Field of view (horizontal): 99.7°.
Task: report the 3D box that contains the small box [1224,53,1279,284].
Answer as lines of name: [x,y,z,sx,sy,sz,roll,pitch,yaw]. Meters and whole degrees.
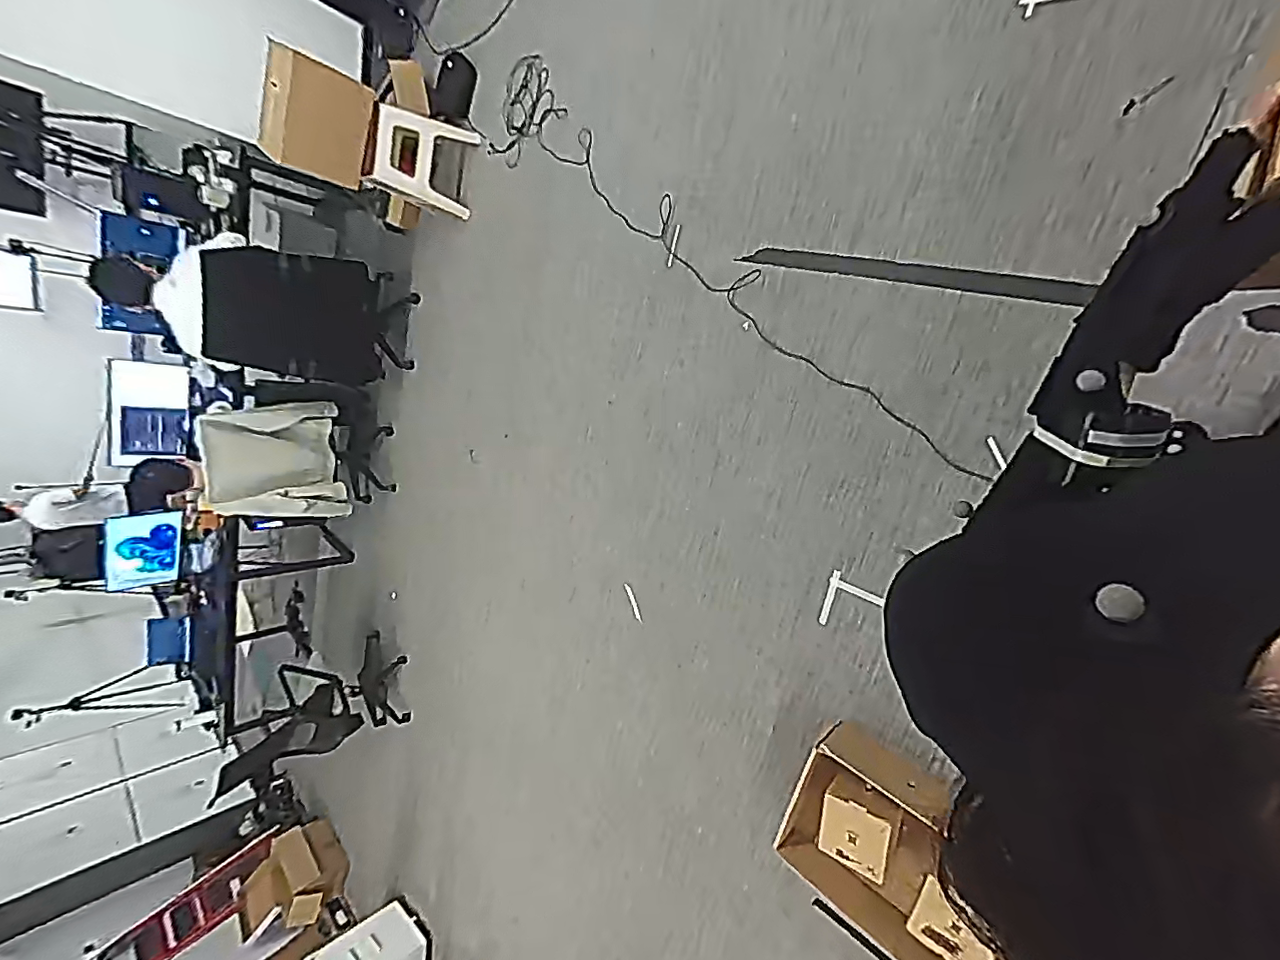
small box: [0.493,-0.230,0.311,0.179,0.176,0.168,11,88,40]

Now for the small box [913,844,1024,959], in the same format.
small box: [0.779,1.024,1.277,0.168,0.176,0.179,24,108,38]
